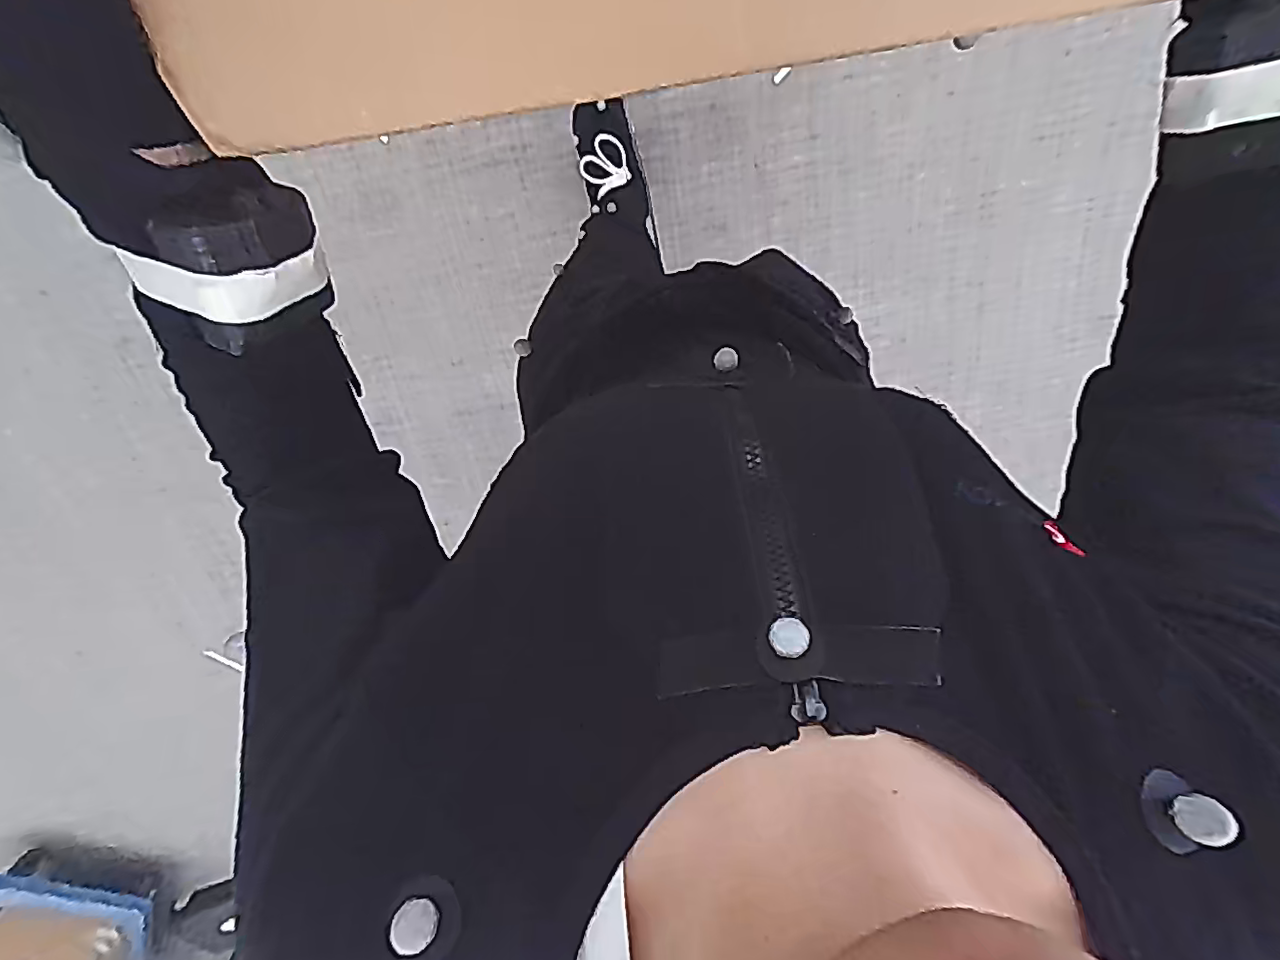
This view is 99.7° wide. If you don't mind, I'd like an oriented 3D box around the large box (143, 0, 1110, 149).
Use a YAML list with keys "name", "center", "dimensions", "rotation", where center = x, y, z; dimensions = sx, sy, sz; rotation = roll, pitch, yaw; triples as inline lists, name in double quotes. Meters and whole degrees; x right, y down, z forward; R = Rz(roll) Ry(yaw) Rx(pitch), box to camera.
- name: "large box"
  center: [-0.006, -0.379, 0.208]
  dimensions: [0.408, 0.320, 0.320]
  rotation: [-9, 137, 1]
